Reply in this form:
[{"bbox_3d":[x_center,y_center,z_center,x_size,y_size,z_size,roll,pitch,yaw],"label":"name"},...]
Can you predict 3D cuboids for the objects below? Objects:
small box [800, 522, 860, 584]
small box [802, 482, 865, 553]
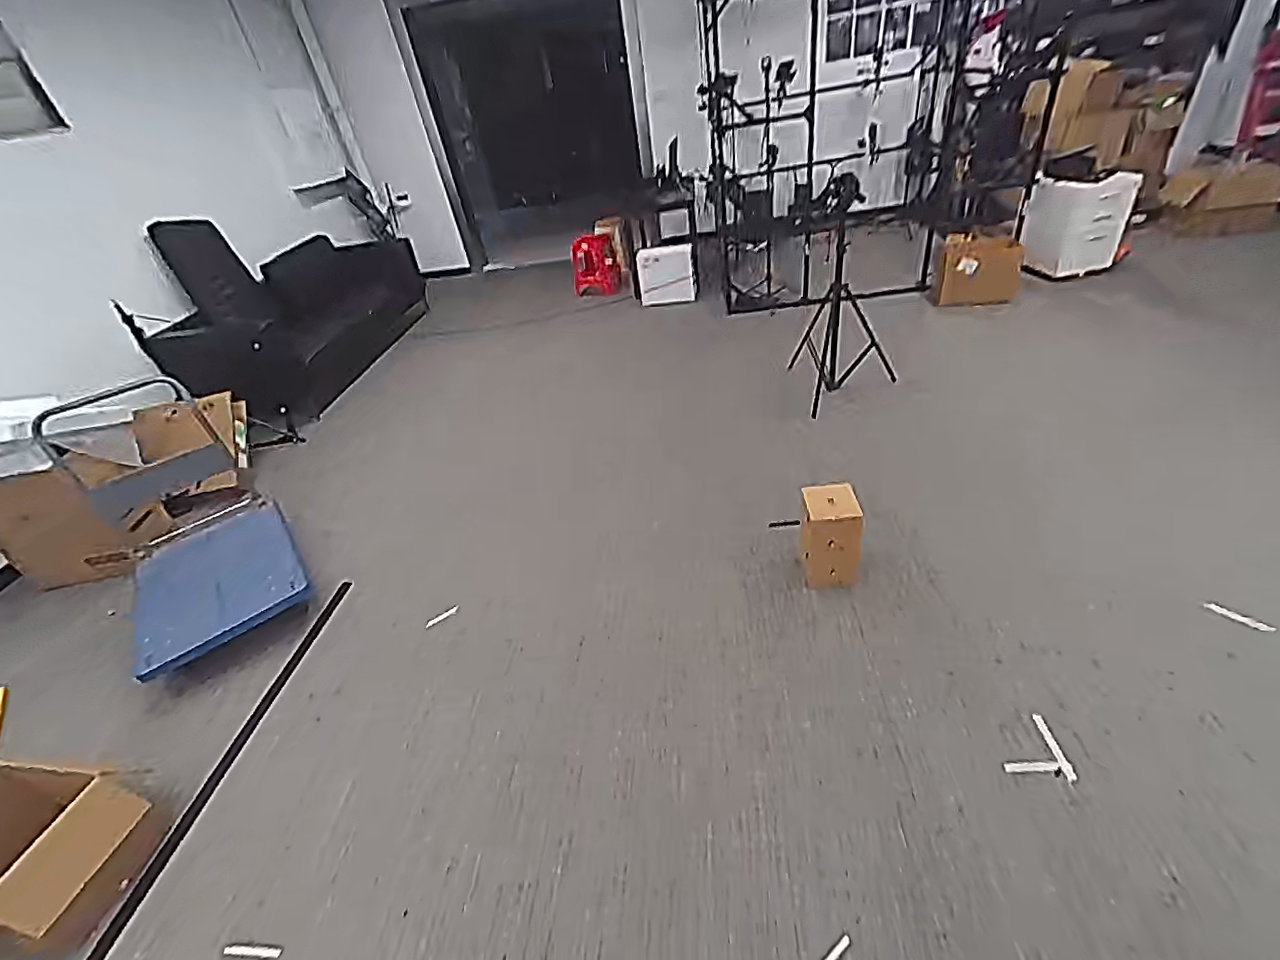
[{"bbox_3d":[0.679,0.259,1.948,0.168,0.176,0.179,-7,36,5],"label":"small box"},{"bbox_3d":[0.654,0.129,1.853,0.168,0.176,0.179,-6,37,7],"label":"small box"}]
